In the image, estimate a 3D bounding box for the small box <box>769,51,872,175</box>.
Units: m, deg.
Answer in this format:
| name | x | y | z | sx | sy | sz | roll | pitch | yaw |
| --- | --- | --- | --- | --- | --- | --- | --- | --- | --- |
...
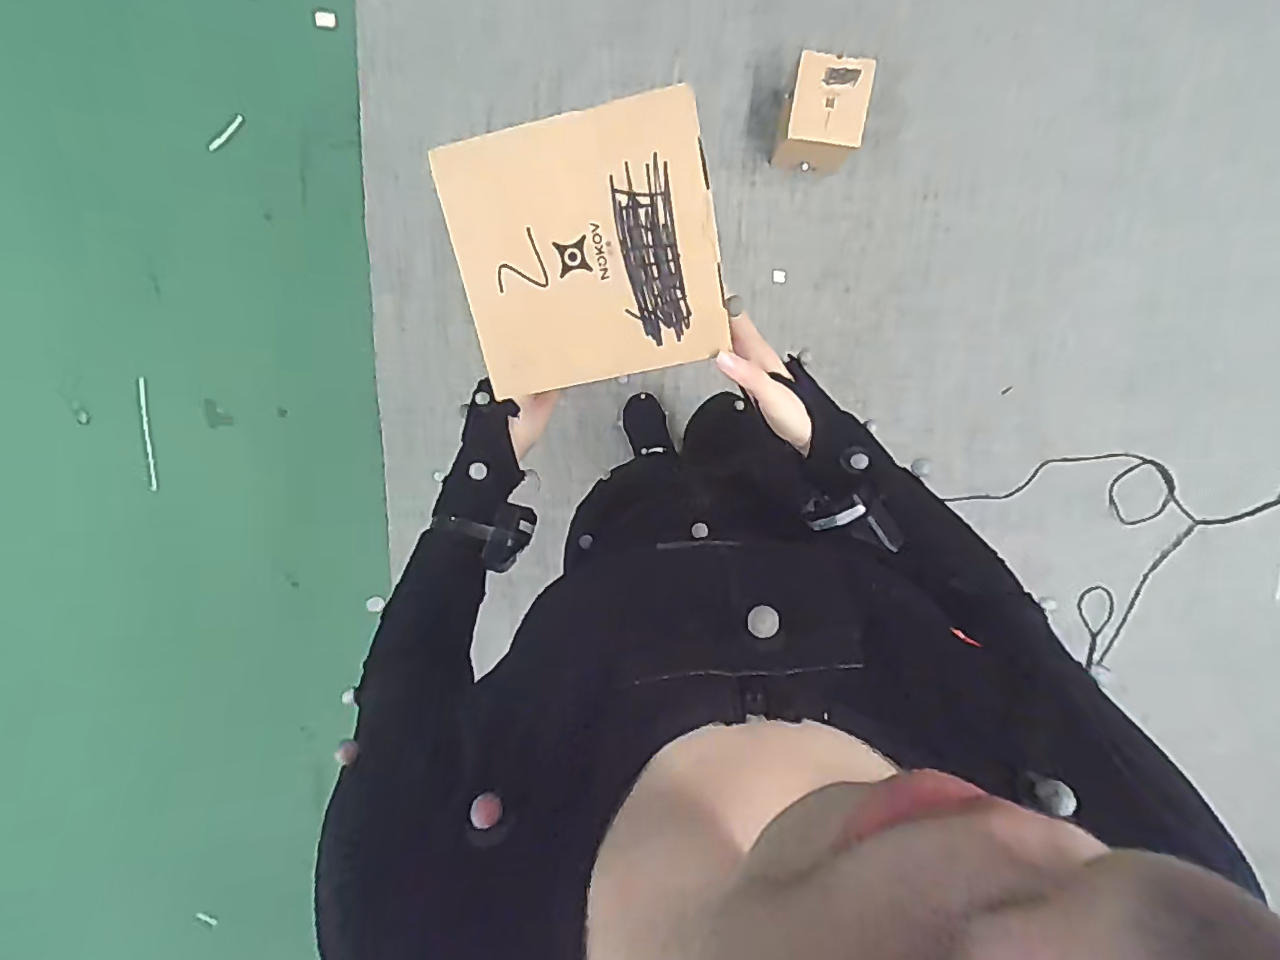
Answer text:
| name | x | y | z | sx | sy | sz | roll | pitch | yaw |
| --- | --- | --- | --- | --- | --- | --- | --- | --- | --- |
| small box | 0.407 | -0.840 | 1.252 | 0.168 | 0.176 | 0.179 | 8 | 101 | -1 |
